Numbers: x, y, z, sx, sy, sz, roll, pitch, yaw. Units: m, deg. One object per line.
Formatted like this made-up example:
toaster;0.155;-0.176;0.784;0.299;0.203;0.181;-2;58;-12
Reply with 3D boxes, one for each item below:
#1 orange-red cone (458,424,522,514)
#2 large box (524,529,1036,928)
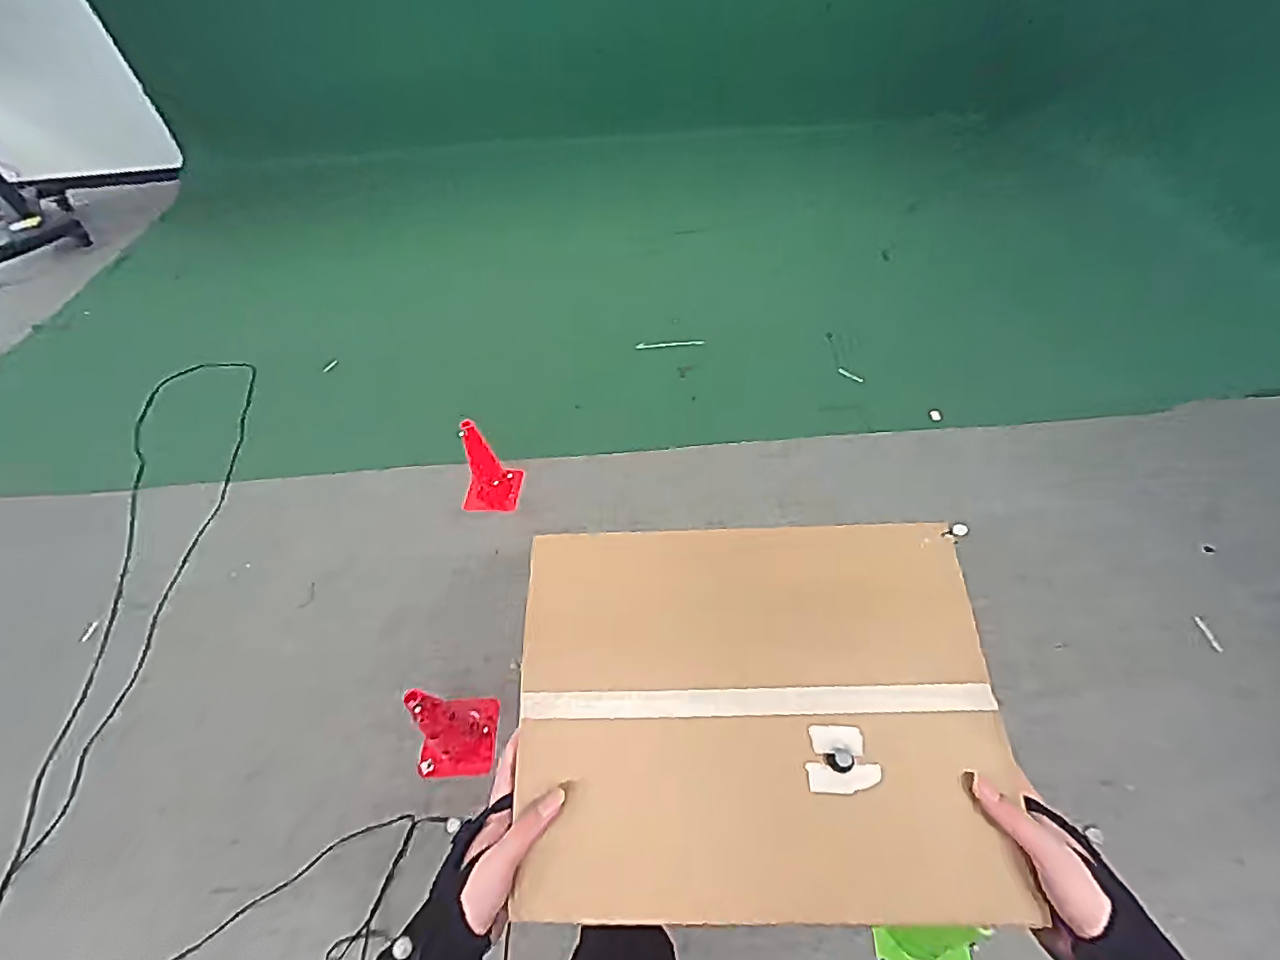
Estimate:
orange-red cone;-0.571;-0.059;1.907;0.199;0.360;0.198;1;50;6
large box;0.106;0.259;0.612;0.408;0.320;0.320;-3;66;2
